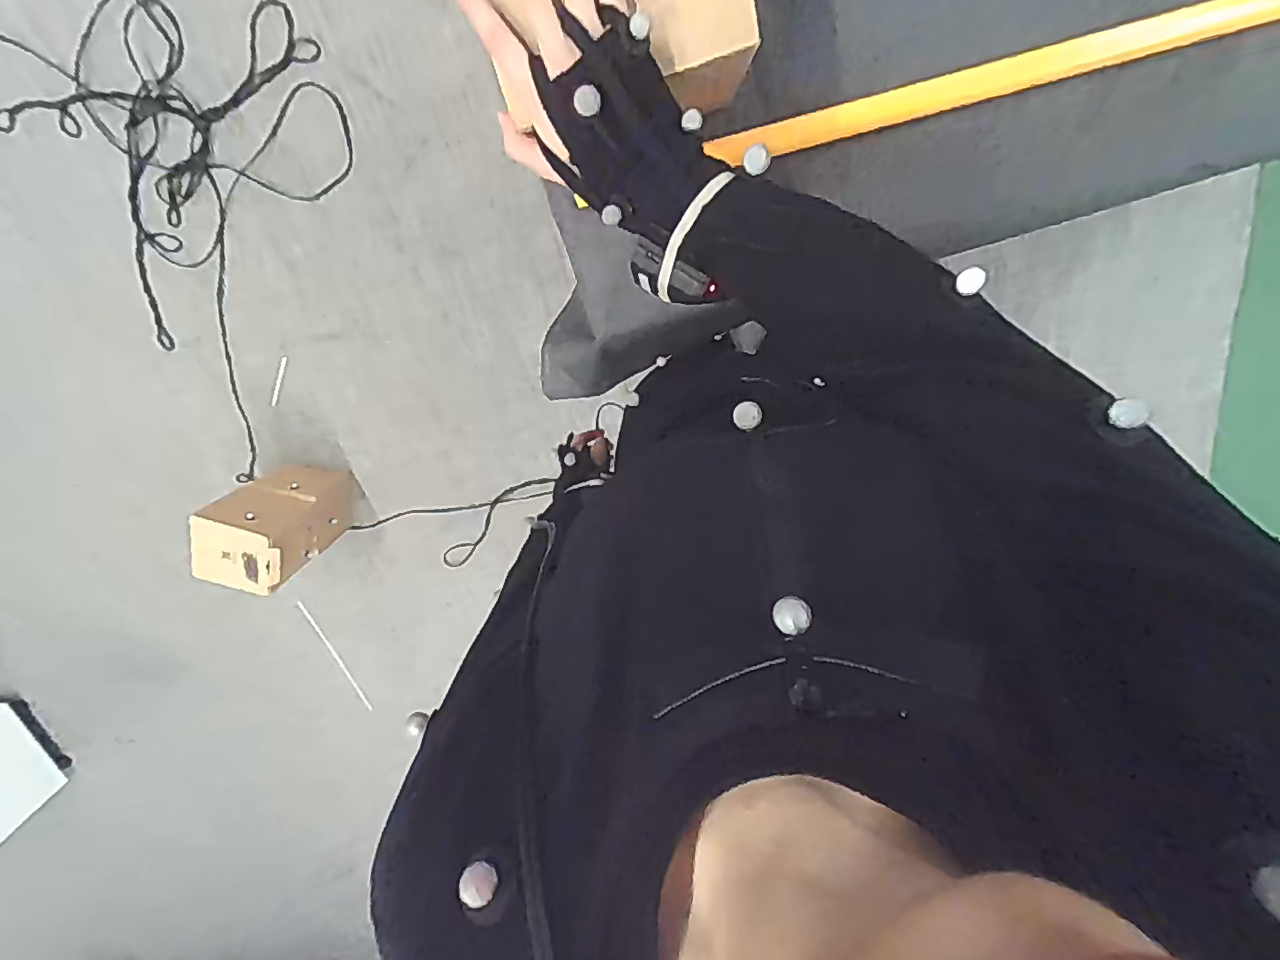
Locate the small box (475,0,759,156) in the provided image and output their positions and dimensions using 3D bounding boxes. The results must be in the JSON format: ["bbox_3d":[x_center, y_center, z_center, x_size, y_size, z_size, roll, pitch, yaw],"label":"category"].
[{"bbox_3d":[-0.024,-0.359,0.383,0.168,0.176,0.179,-14,113,10],"label":"small box"}]

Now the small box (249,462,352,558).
[{"bbox_3d":[-0.874,0.074,1.409,0.168,0.176,0.179,12,113,-2],"label":"small box"}]

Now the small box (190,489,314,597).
[{"bbox_3d":[-0.893,0.140,1.259,0.179,0.176,0.168,17,112,-3],"label":"small box"}]
